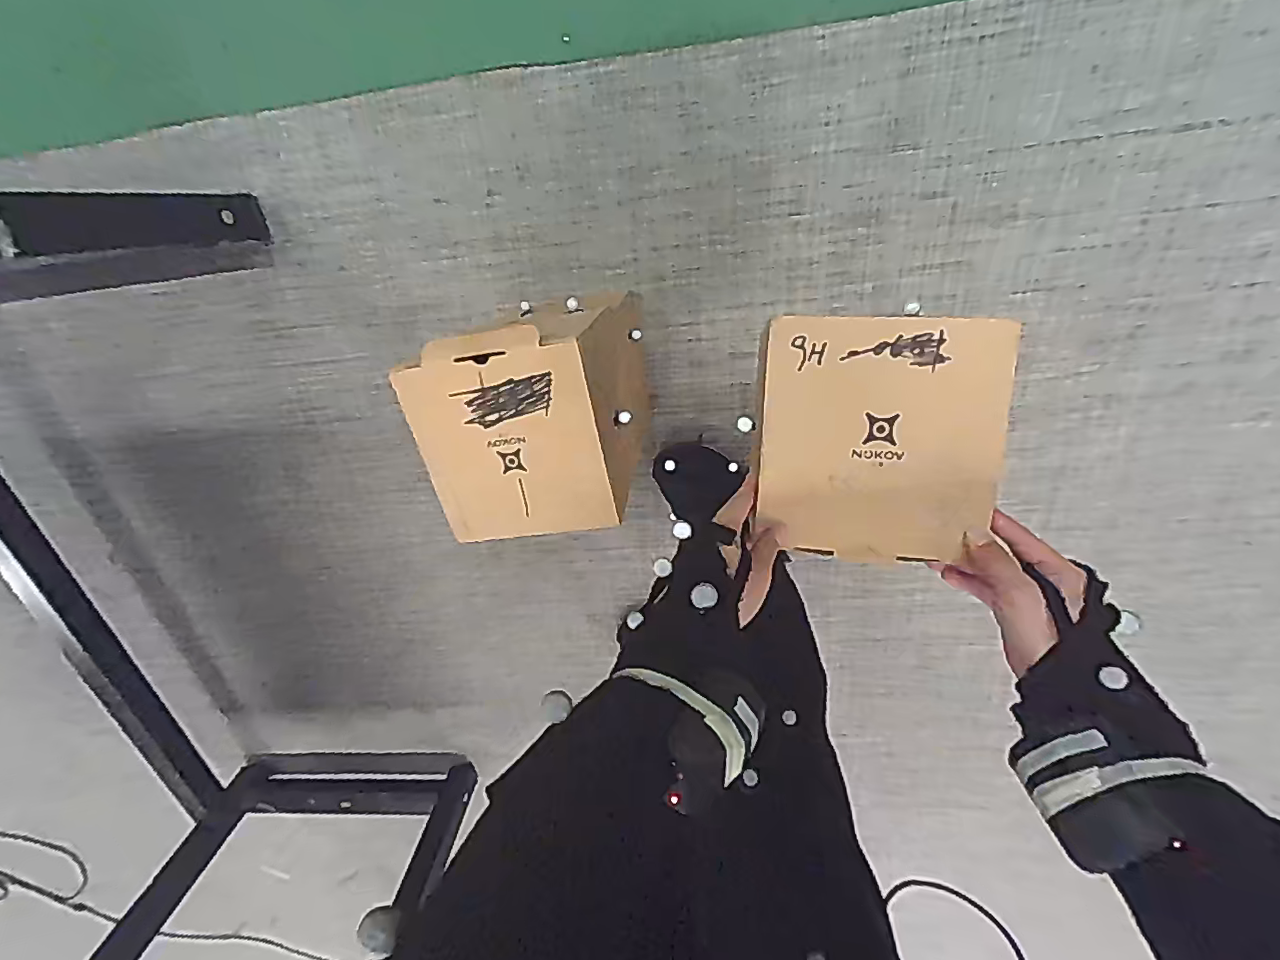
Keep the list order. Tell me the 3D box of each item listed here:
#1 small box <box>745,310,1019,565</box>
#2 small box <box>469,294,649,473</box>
[{"bbox_3d":[0.180,-0.045,0.463,0.168,0.176,0.179,4,101,8],"label":"small box"},{"bbox_3d":[-0.087,-0.130,0.683,0.168,0.176,0.179,-7,116,10],"label":"small box"}]
